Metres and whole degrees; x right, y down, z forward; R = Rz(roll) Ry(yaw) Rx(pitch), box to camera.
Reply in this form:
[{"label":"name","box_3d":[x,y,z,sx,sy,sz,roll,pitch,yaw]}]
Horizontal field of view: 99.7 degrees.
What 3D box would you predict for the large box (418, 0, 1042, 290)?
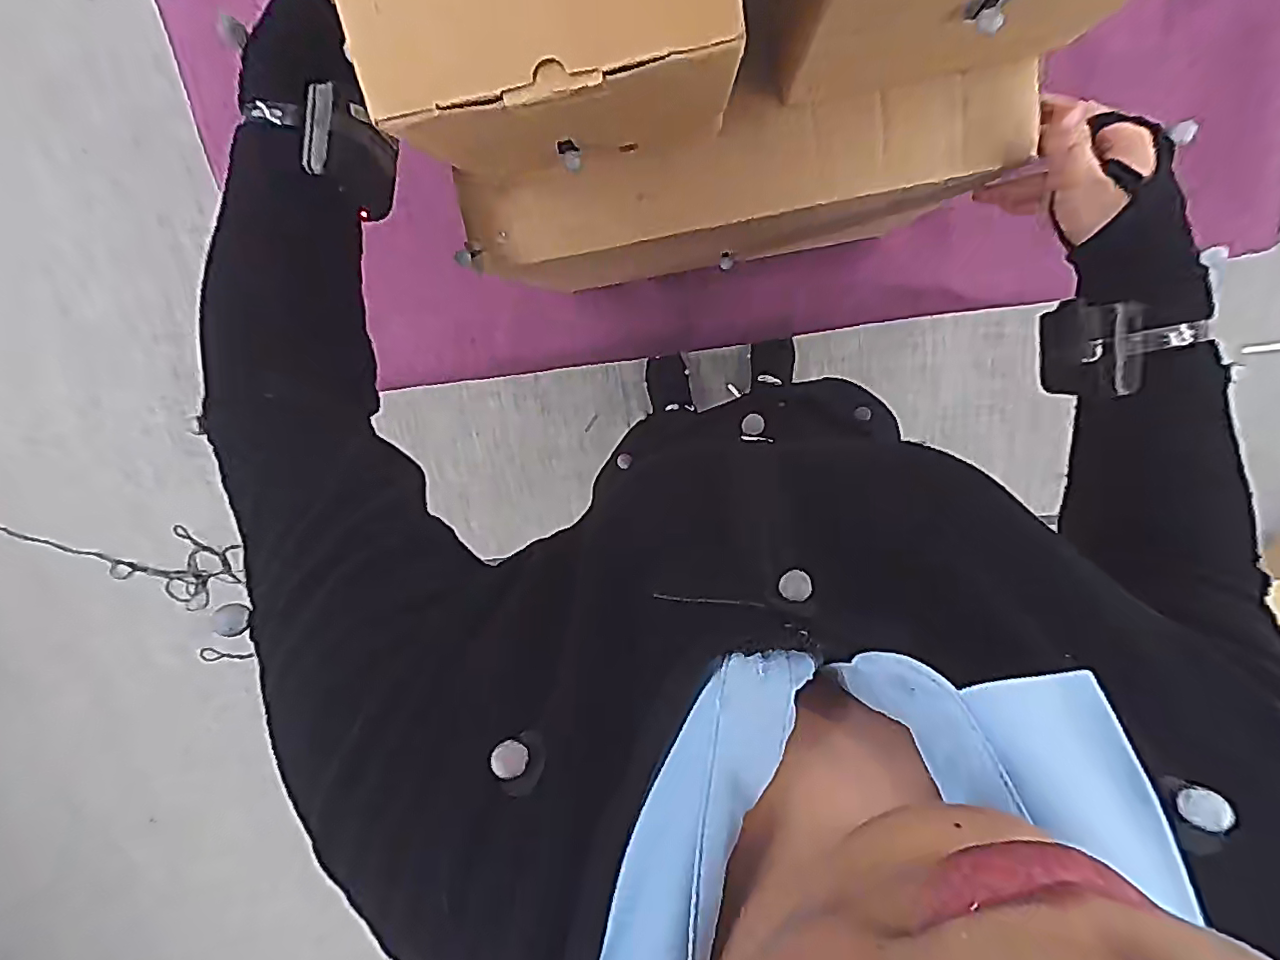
[{"label":"large box","box_3d":[0.062,-0.374,0.491,0.408,0.320,0.320,-8,104,8]}]
